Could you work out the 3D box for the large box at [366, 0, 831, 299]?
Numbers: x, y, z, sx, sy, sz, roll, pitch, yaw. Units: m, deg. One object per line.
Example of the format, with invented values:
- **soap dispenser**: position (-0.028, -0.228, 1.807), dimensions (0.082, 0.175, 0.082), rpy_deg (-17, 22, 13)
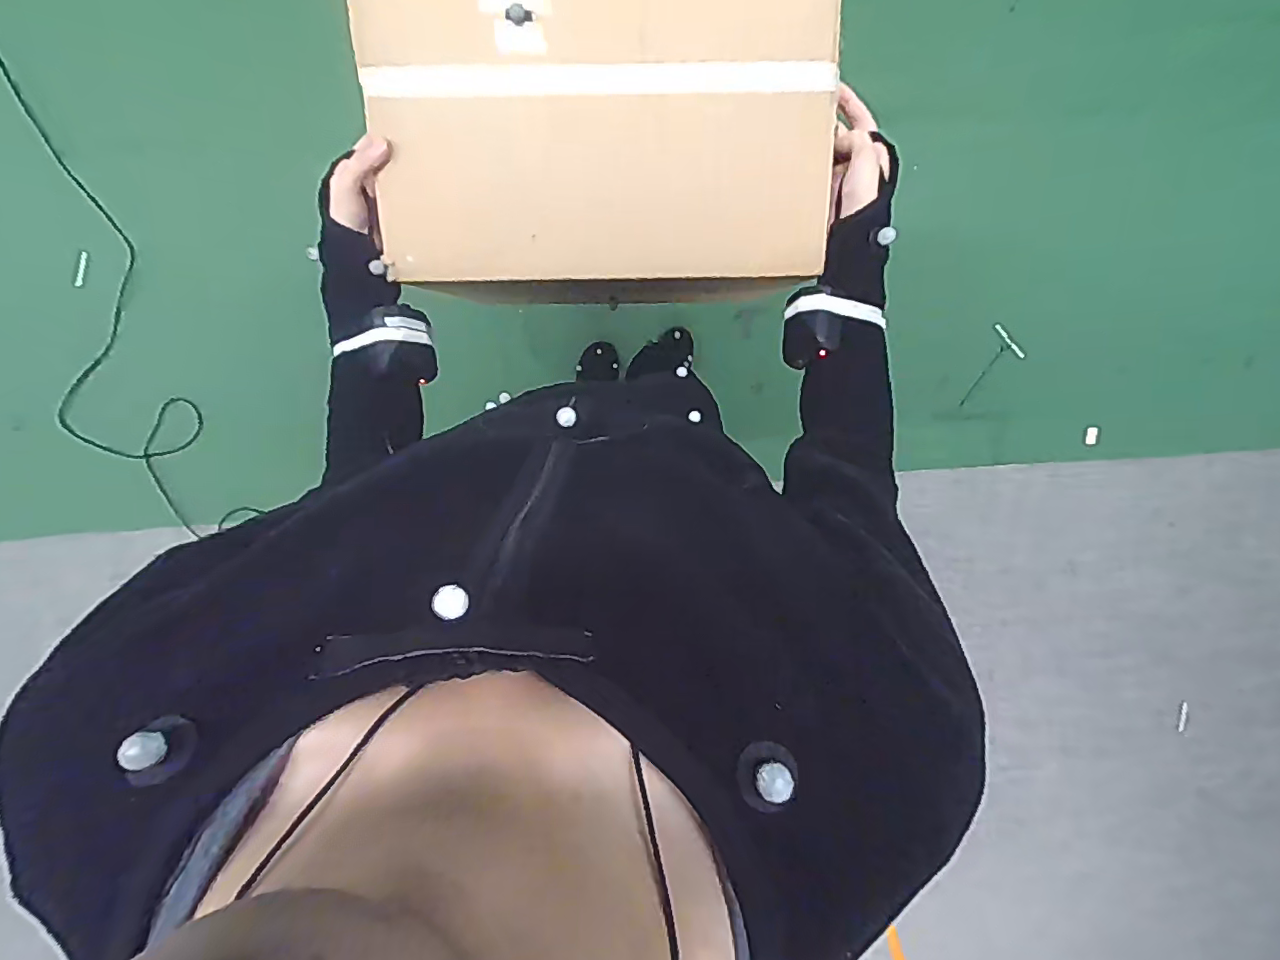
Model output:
- **large box**: position (-0.033, -0.381, 0.619), dimensions (0.408, 0.320, 0.320), rpy_deg (-1, 103, -1)
